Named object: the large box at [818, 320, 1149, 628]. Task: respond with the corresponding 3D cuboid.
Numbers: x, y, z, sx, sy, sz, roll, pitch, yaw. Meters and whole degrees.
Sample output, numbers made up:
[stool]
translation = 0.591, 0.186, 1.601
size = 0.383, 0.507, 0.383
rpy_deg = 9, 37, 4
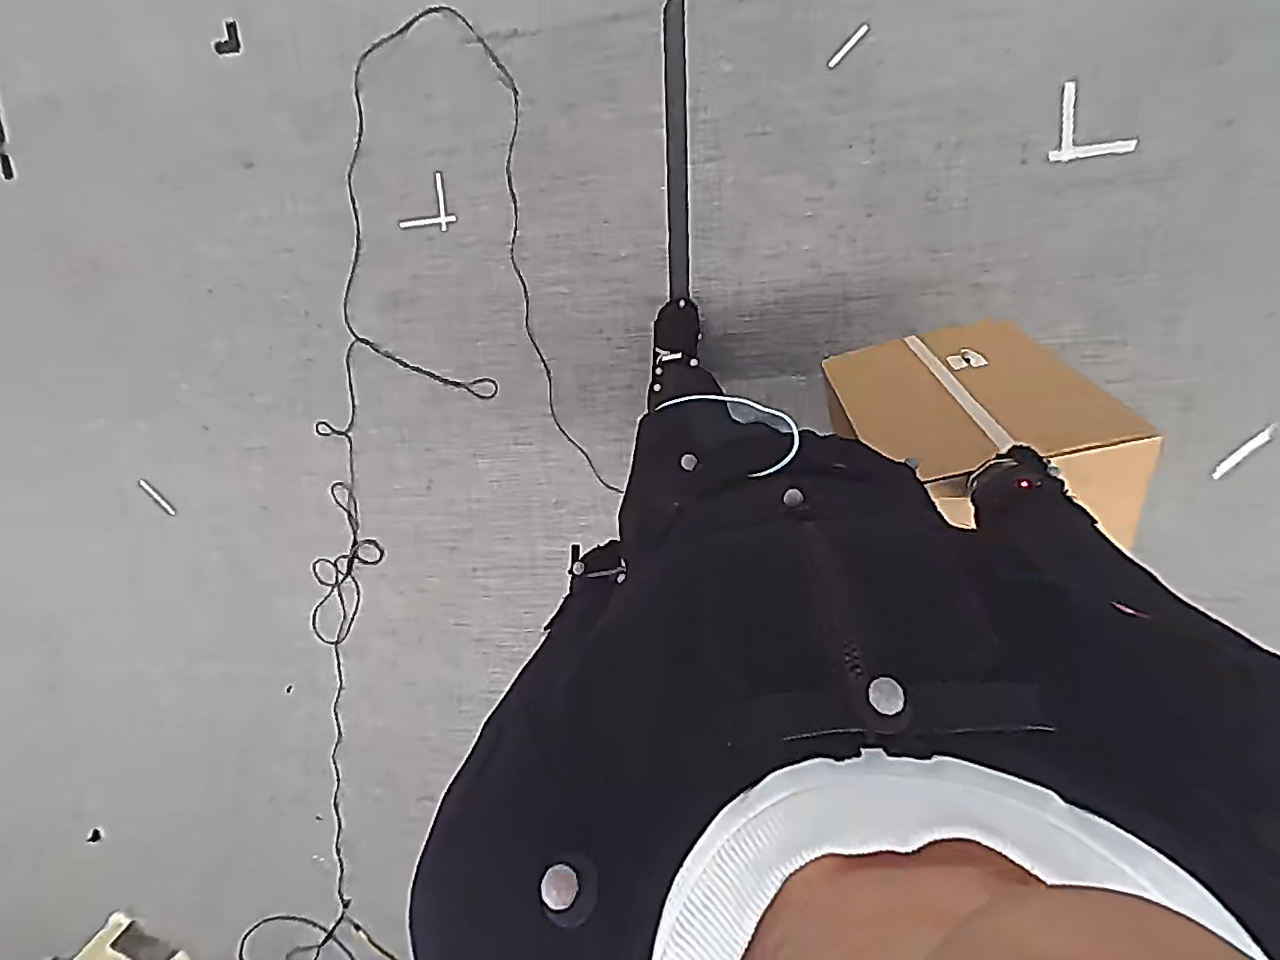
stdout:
[large box]
translation = 0.526, -0.022, 0.920
size = 0.320, 0.408, 0.320
rpy_deg = -13, 124, 12
